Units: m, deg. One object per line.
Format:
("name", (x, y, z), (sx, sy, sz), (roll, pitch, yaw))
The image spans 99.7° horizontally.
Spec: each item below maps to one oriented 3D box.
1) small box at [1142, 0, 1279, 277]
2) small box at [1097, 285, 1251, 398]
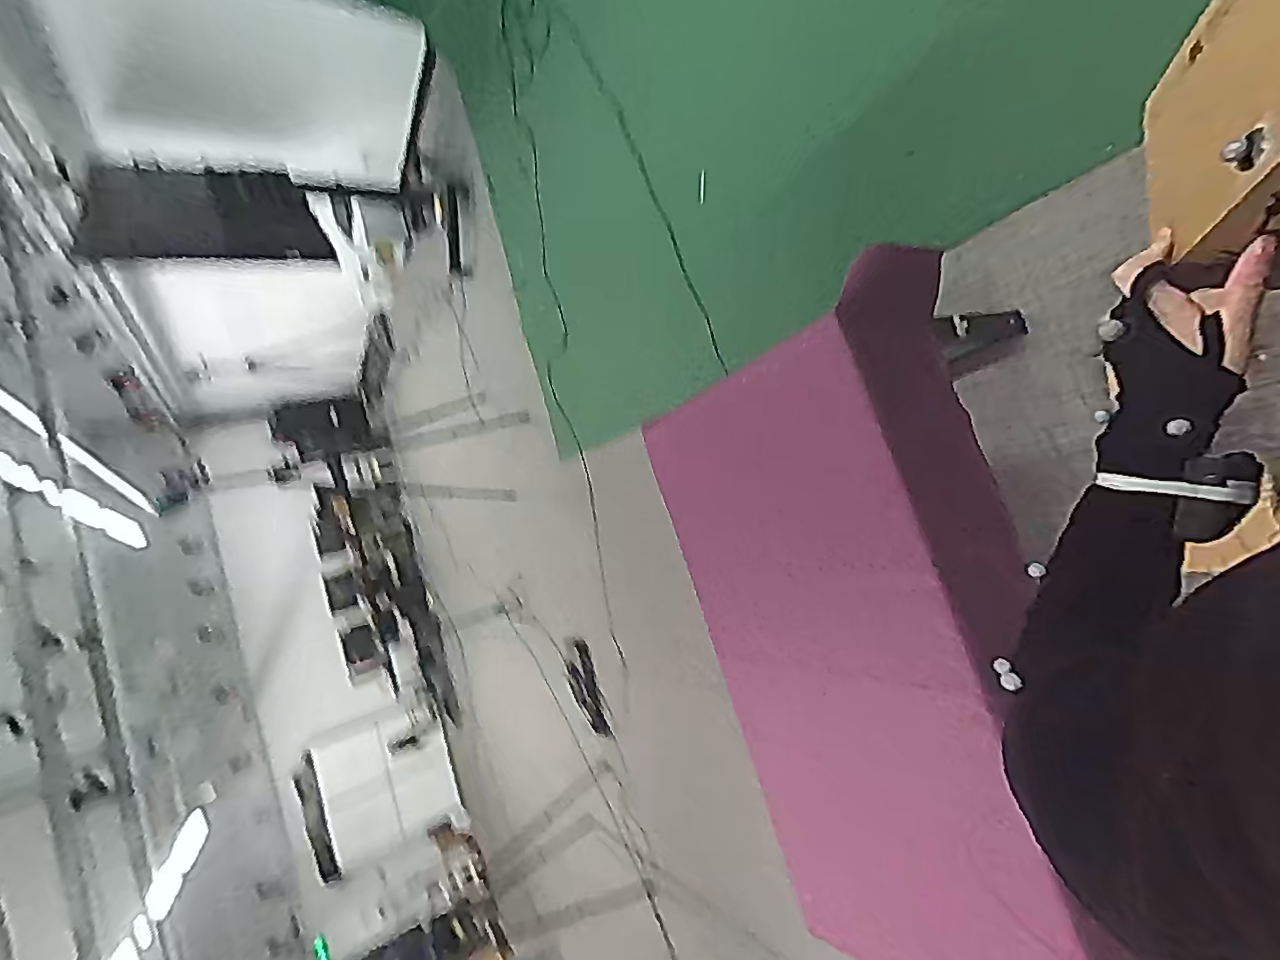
("small box", (0.450, -0.242, 0.319), (0.179, 0.168, 0.176), (7, 76, 17))
("small box", (1.010, -0.260, 1.021), (0.179, 0.176, 0.168), (-8, 94, 57))
